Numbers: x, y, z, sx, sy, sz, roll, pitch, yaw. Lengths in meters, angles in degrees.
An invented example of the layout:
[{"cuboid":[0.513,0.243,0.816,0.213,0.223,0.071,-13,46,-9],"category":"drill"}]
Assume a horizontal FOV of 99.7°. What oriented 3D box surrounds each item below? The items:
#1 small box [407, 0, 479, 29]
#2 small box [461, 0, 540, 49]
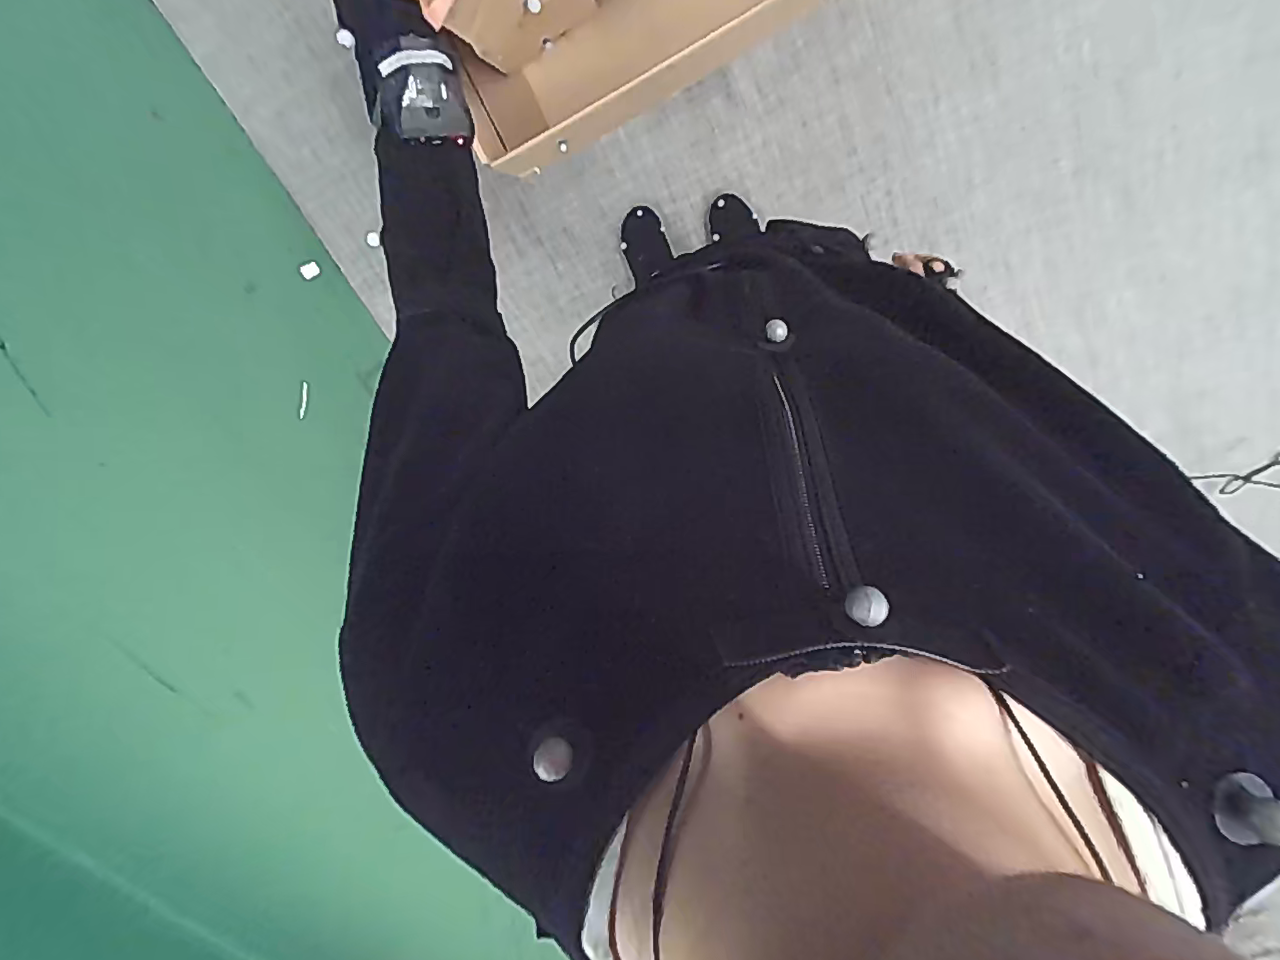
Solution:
[{"cuboid":[-0.204,-0.516,0.432,0.168,0.176,0.179,30,117,-14],"category":"small box"},{"cuboid":[-0.189,-0.607,0.568,0.168,0.176,0.179,-38,110,21],"category":"small box"}]
